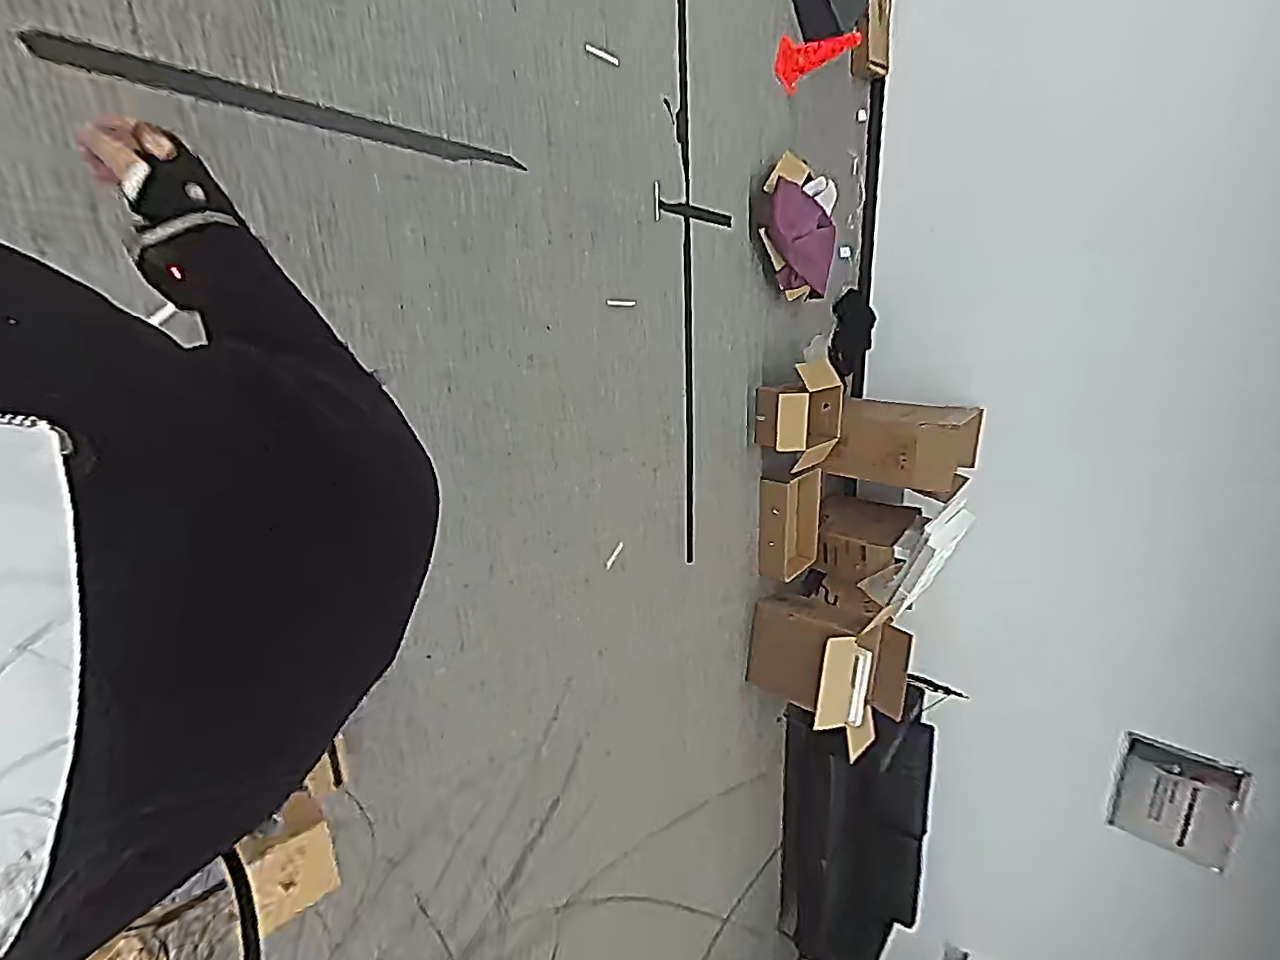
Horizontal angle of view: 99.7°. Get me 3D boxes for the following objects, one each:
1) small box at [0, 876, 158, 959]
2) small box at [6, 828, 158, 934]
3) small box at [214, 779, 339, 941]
[{"bbox_3d":[-0.946,0.835,0.917,0.168,0.176,0.179,-22,115,-45],"label":"small box"},{"bbox_3d":[-1.063,0.809,1.031,0.168,0.176,0.179,-18,112,-47],"label":"small box"},{"bbox_3d":[-0.750,0.769,1.116,0.168,0.176,0.179,-17,112,-45],"label":"small box"}]
